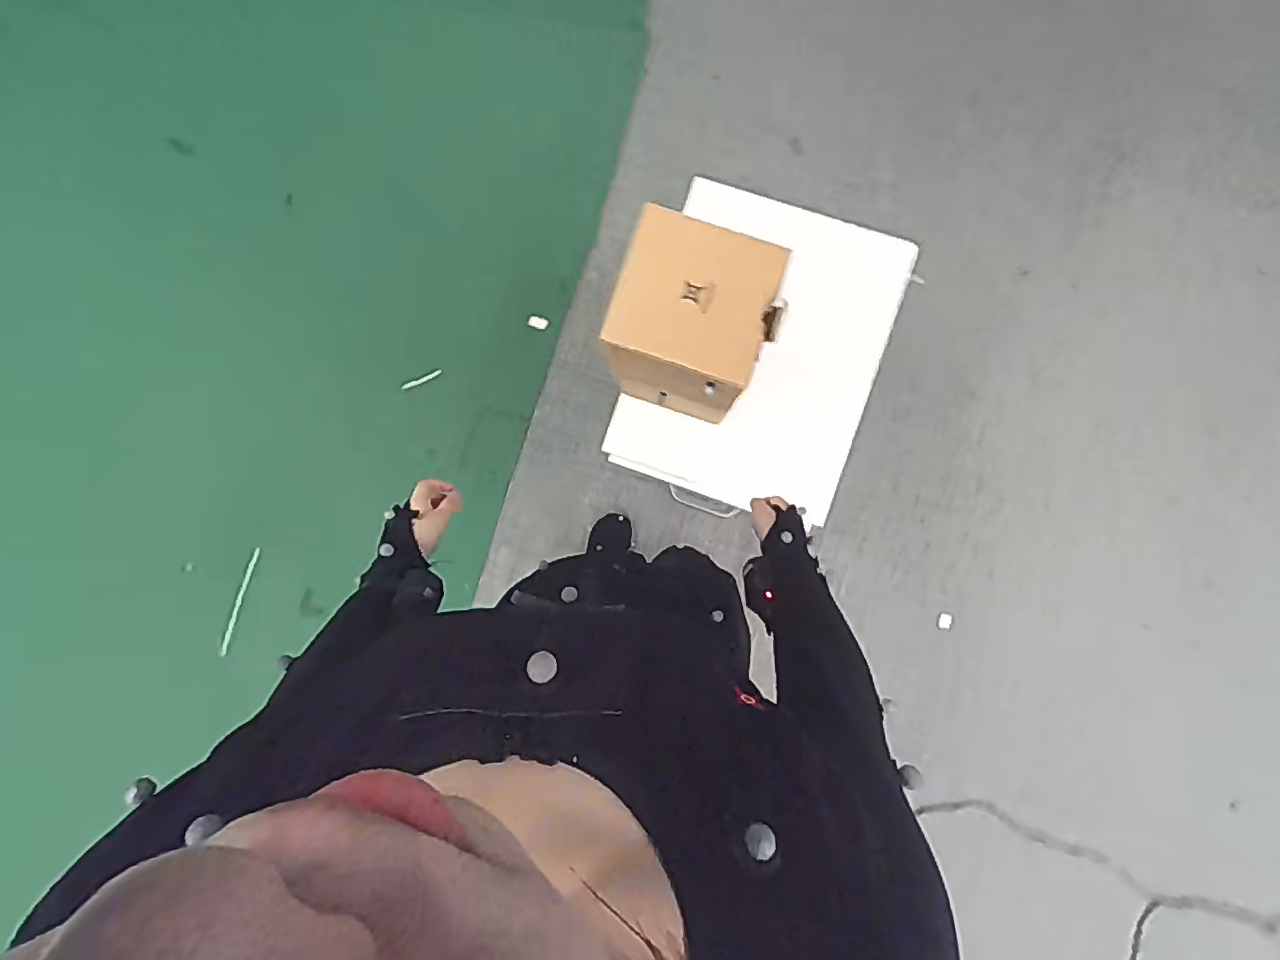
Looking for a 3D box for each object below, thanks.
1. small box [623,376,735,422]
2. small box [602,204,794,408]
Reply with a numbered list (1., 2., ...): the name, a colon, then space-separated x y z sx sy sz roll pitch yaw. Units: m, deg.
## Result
1. small box: 0.077 -0.199 0.842 0.179 0.176 0.168 19 88 3
2. small box: 0.066 -0.202 0.679 0.179 0.176 0.168 19 88 1
